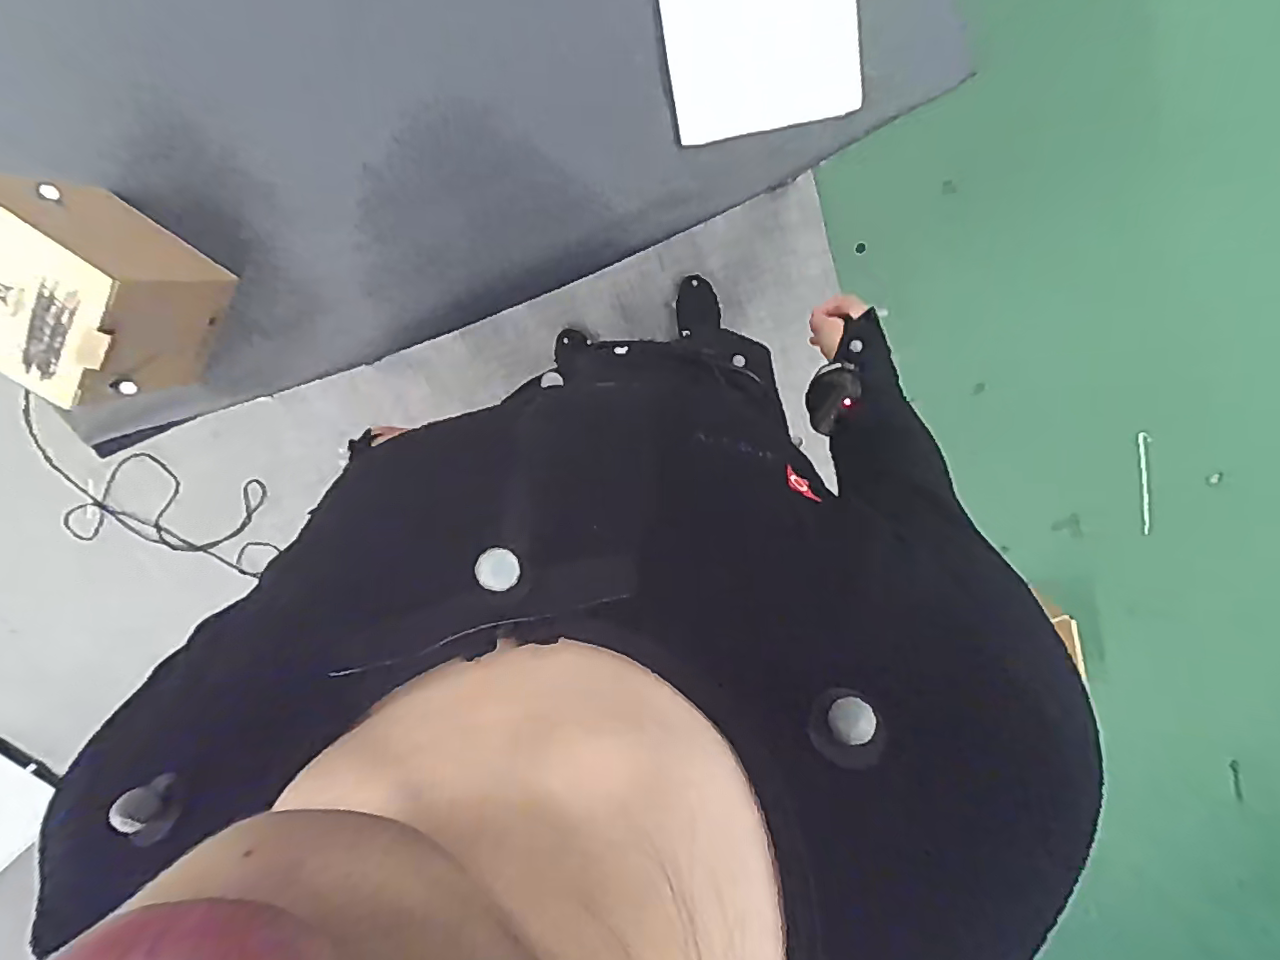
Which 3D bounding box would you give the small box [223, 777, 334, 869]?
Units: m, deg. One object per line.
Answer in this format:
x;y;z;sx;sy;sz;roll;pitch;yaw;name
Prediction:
-1.010;0.981;1.518;0.168;0.176;0.179;-38;104;13;small box
